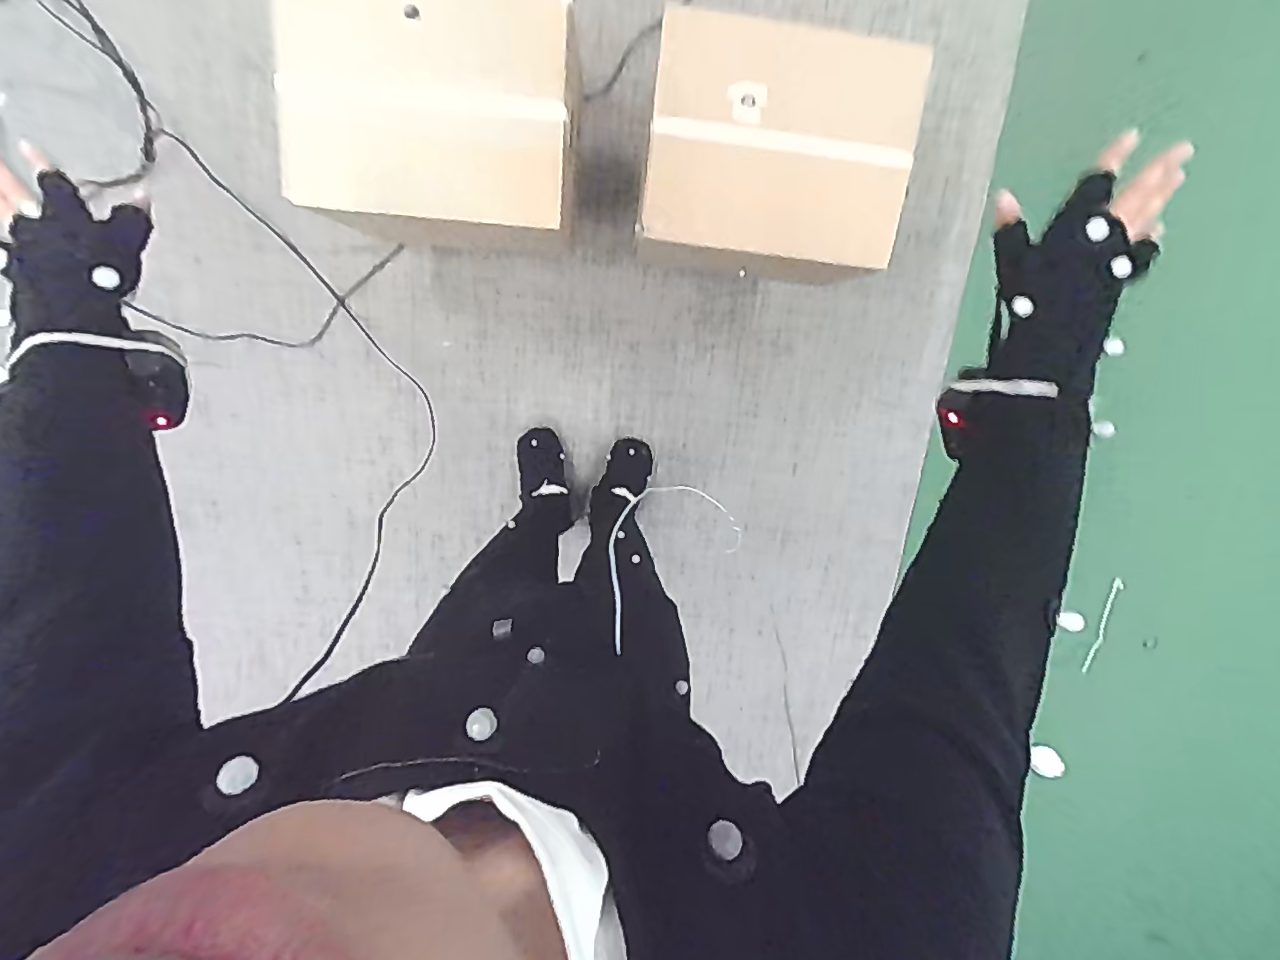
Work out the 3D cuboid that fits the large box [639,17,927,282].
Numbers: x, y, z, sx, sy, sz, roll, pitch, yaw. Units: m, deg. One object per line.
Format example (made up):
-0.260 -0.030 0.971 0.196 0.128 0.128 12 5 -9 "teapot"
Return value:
0.217 -0.551 0.982 0.408 0.320 0.320 6 104 -4 "large box"
